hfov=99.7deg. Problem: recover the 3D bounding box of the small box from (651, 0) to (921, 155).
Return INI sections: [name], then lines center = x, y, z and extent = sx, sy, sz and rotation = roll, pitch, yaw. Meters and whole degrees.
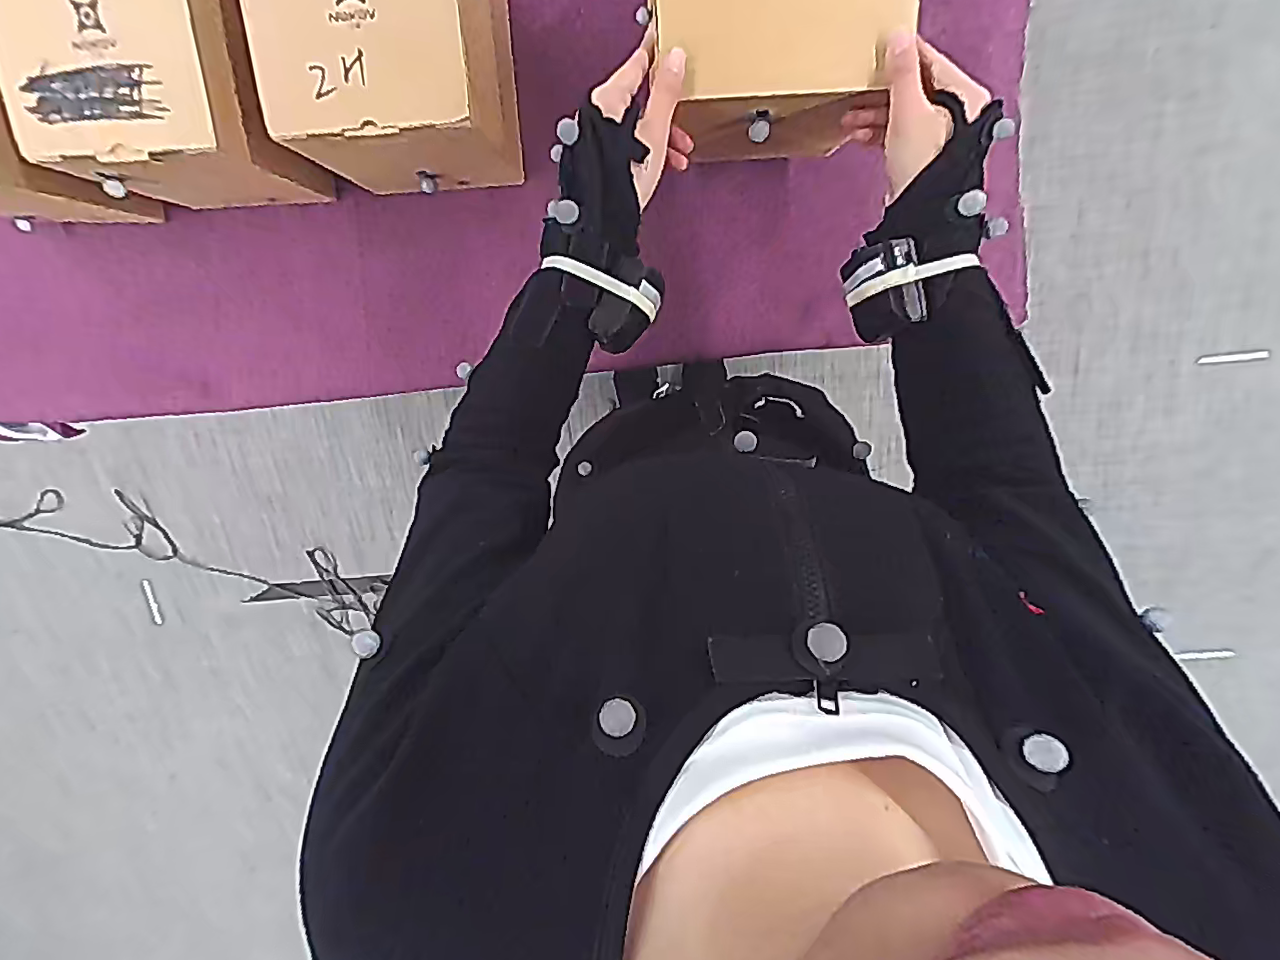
[small box]
center = 0.097, -0.368, 0.420
extent = 0.179, 0.176, 0.168
rotation = -1, 108, 2
